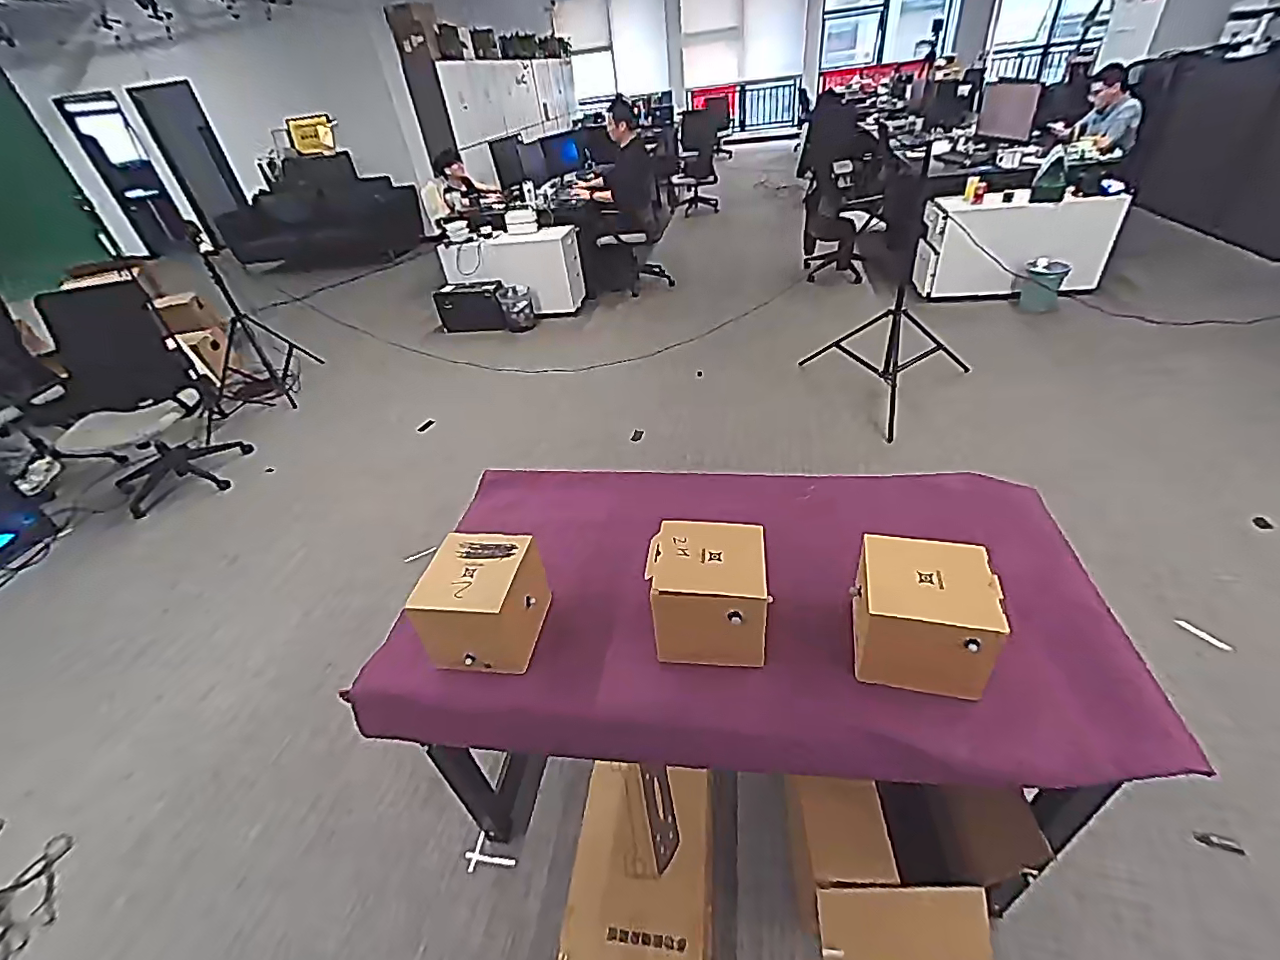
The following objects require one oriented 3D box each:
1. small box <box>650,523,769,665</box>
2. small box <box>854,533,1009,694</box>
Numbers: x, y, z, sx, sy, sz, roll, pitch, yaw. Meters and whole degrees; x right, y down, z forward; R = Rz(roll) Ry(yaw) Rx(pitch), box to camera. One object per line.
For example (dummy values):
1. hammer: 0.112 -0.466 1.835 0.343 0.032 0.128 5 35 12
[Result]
1. small box: 0.120 0.191 0.908 0.179 0.176 0.168 0 35 10
2. small box: 0.430 0.205 0.834 0.179 0.176 0.168 4 39 16
